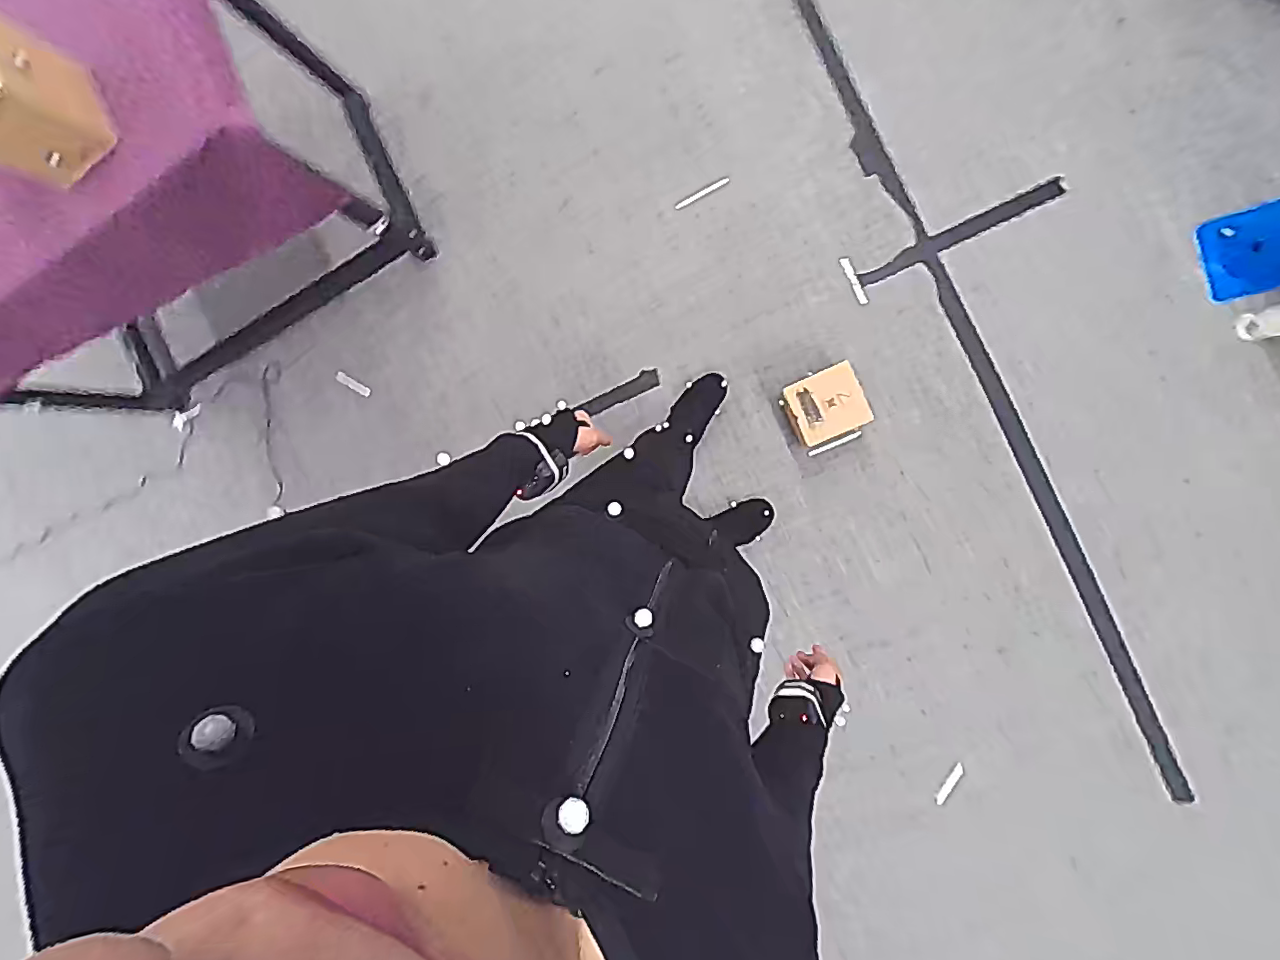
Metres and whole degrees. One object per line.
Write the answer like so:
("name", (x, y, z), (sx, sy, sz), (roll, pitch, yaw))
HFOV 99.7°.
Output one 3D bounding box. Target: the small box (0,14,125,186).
("small box", (-1.115, -0.686, 0.987), (0.168, 0.176, 0.179), (-26, 88, 12))
